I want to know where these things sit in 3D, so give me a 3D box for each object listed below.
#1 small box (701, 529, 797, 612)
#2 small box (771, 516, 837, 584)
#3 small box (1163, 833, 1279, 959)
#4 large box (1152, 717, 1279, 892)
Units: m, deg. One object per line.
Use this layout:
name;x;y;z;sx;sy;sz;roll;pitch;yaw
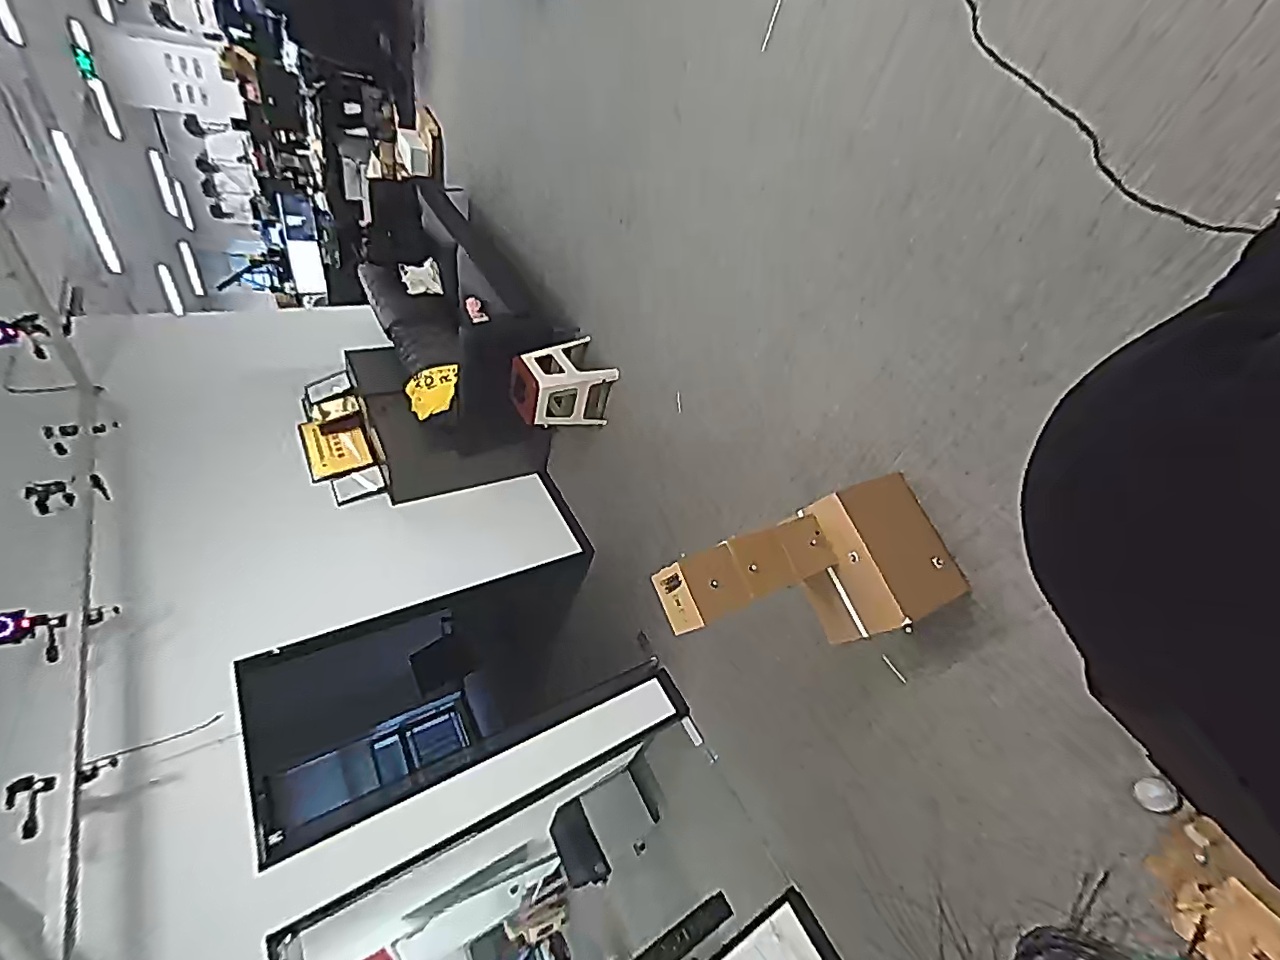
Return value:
small box;0.310;0.252;1.539;0.168;0.176;0.179;-46;63;56
small box;0.450;0.225;1.617;0.168;0.176;0.179;66;149;16
small box;1.027;0.713;0.874;0.179;0.176;0.168;48;138;39
large box;1.275;0.721;0.956;0.408;0.320;0.320;42;136;41
